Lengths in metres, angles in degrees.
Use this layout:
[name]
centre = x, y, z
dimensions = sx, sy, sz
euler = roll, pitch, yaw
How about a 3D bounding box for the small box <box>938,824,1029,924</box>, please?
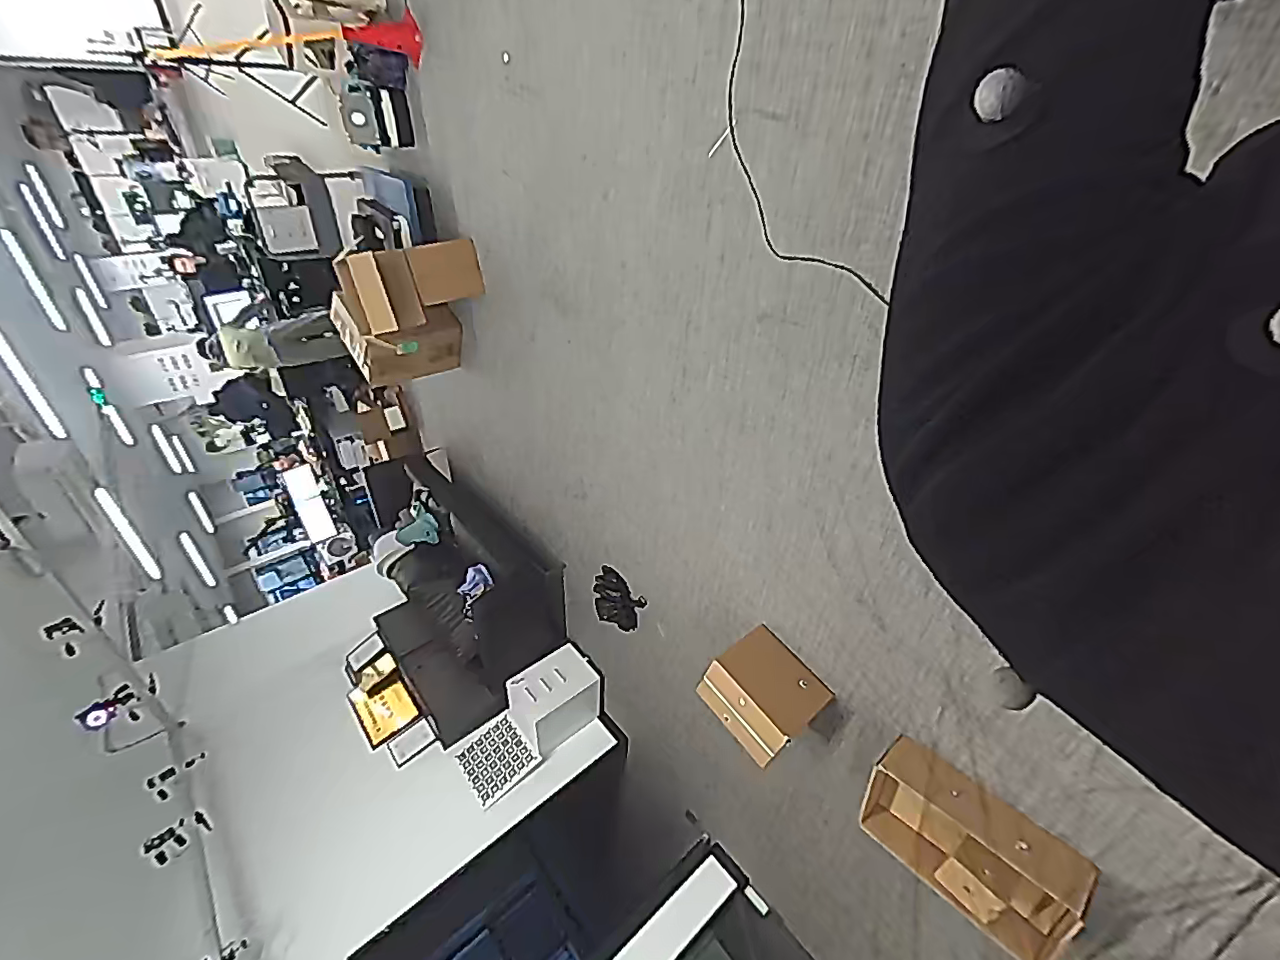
[small box]
centre = 1.127, 1.287, 1.773
dimensions = 0.179, 0.176, 0.168
euler = 37, 137, 39
